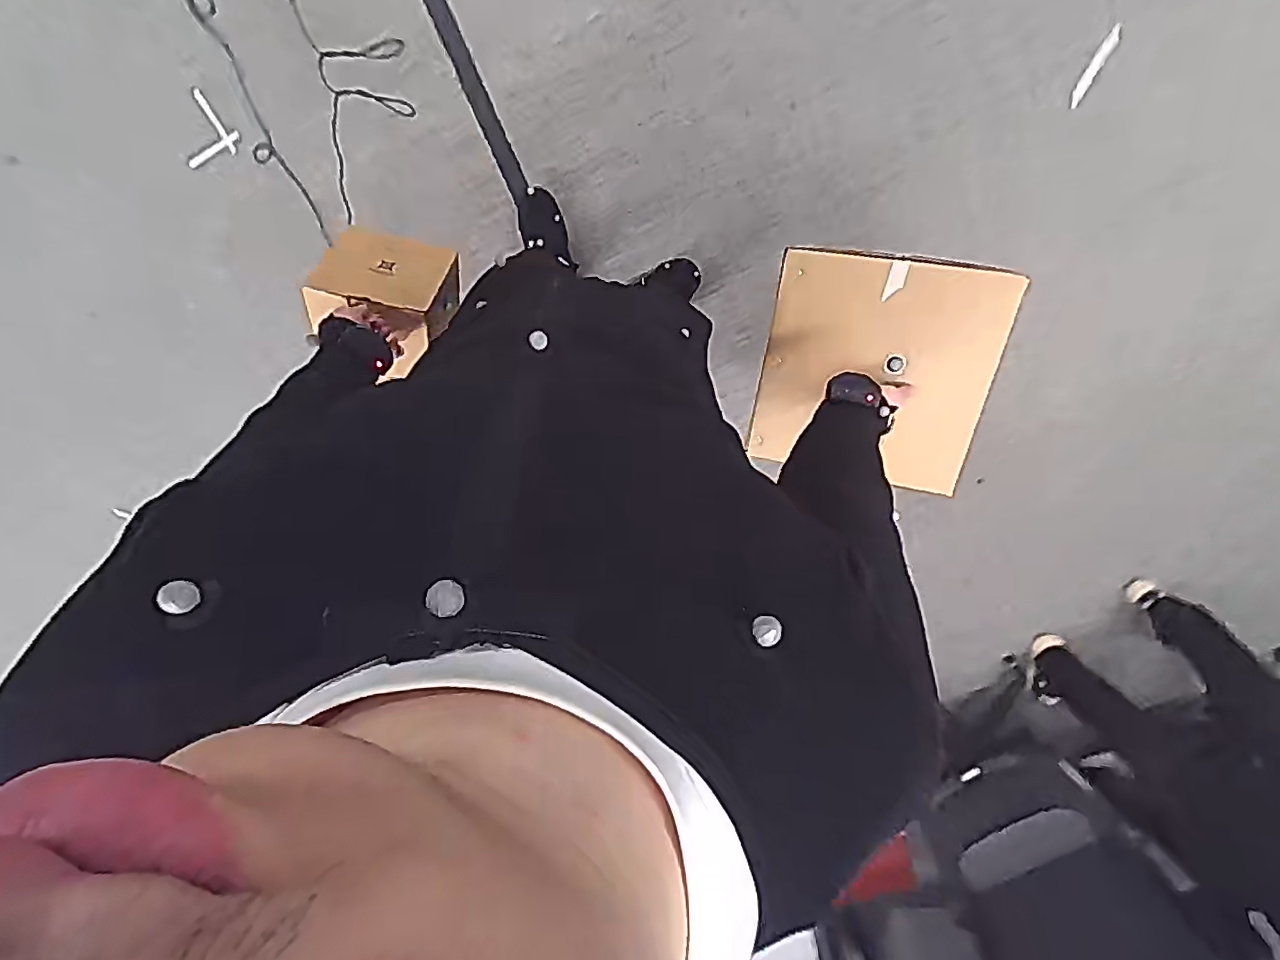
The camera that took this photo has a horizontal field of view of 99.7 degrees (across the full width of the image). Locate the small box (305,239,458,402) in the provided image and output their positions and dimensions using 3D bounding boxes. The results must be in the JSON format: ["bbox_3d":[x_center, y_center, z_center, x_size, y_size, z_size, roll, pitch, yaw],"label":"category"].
[{"bbox_3d":[-0.392,-0.247,0.859,0.168,0.179,0.176,9,140,-9],"label":"small box"}]
